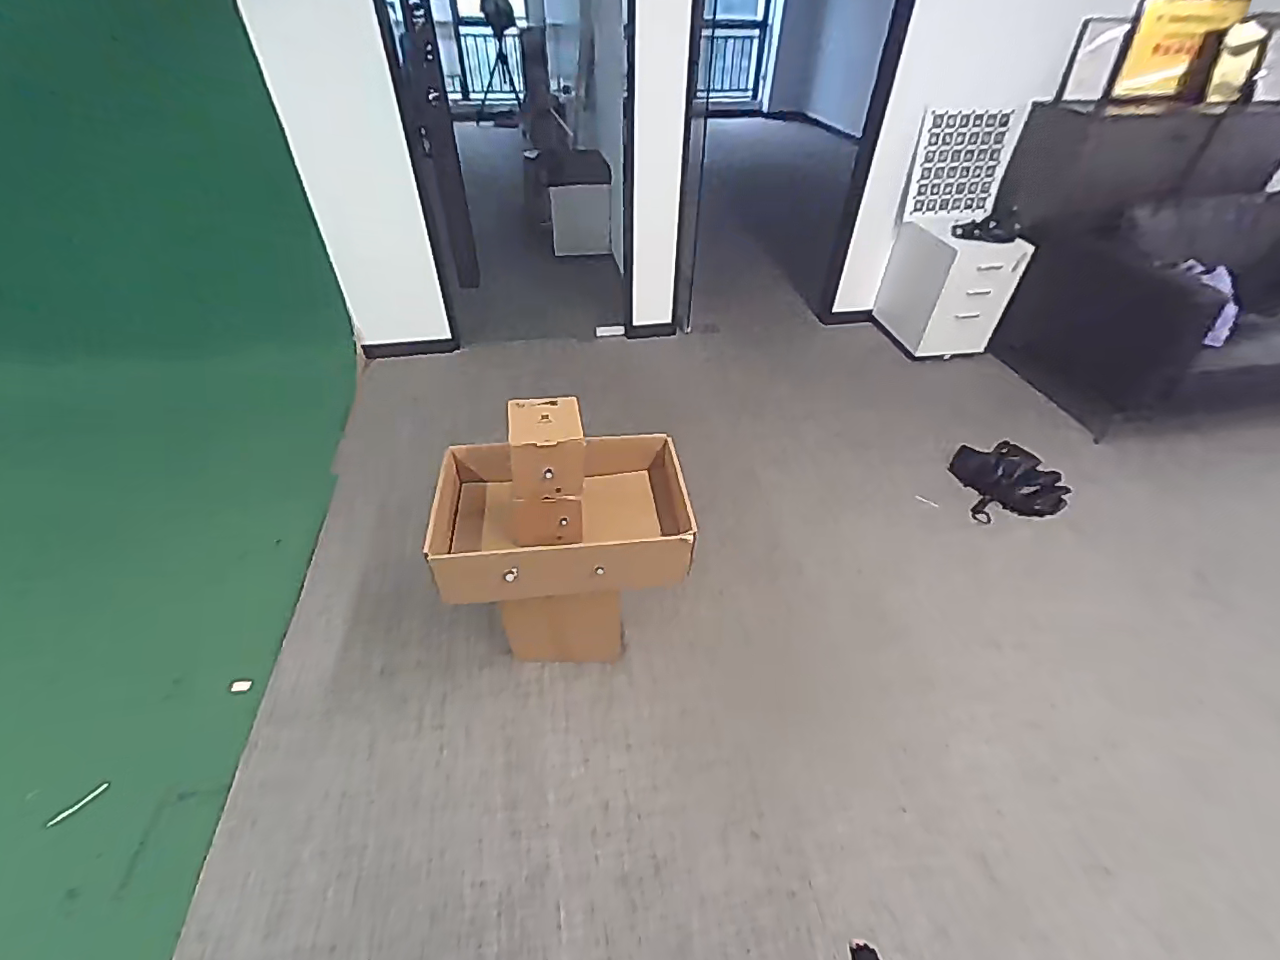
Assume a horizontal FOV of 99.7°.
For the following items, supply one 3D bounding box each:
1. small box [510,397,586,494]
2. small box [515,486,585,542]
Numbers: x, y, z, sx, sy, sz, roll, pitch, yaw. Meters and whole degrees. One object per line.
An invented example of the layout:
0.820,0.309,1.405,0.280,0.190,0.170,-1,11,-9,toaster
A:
-0.220,-0.078,1.299,0.168,0.176,0.179,-4,43,-10,small box
-0.230,0.050,1.402,0.168,0.176,0.179,-3,40,-9,small box
